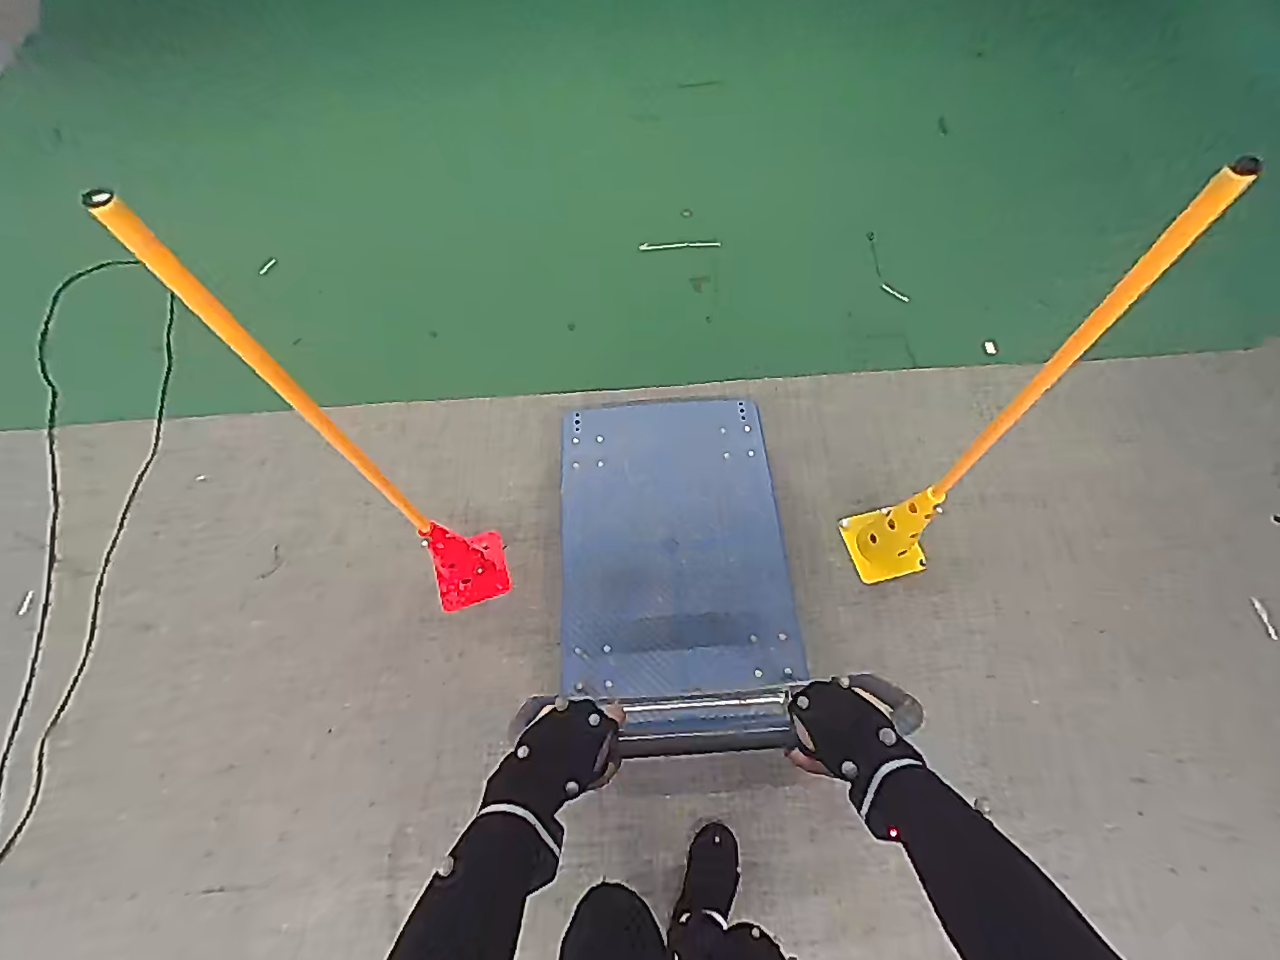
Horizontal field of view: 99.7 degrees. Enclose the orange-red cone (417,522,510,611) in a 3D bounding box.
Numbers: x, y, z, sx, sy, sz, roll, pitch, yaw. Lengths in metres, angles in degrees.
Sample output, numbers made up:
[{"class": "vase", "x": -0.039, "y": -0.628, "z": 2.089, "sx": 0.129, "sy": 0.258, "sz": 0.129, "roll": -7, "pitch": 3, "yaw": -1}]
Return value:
[{"class": "orange-red cone", "x": -0.491, "y": 0.191, "z": 1.405, "sx": 0.199, "sy": 0.360, "sz": 0.198, "roll": -18, "pitch": 65, "yaw": -5}]
